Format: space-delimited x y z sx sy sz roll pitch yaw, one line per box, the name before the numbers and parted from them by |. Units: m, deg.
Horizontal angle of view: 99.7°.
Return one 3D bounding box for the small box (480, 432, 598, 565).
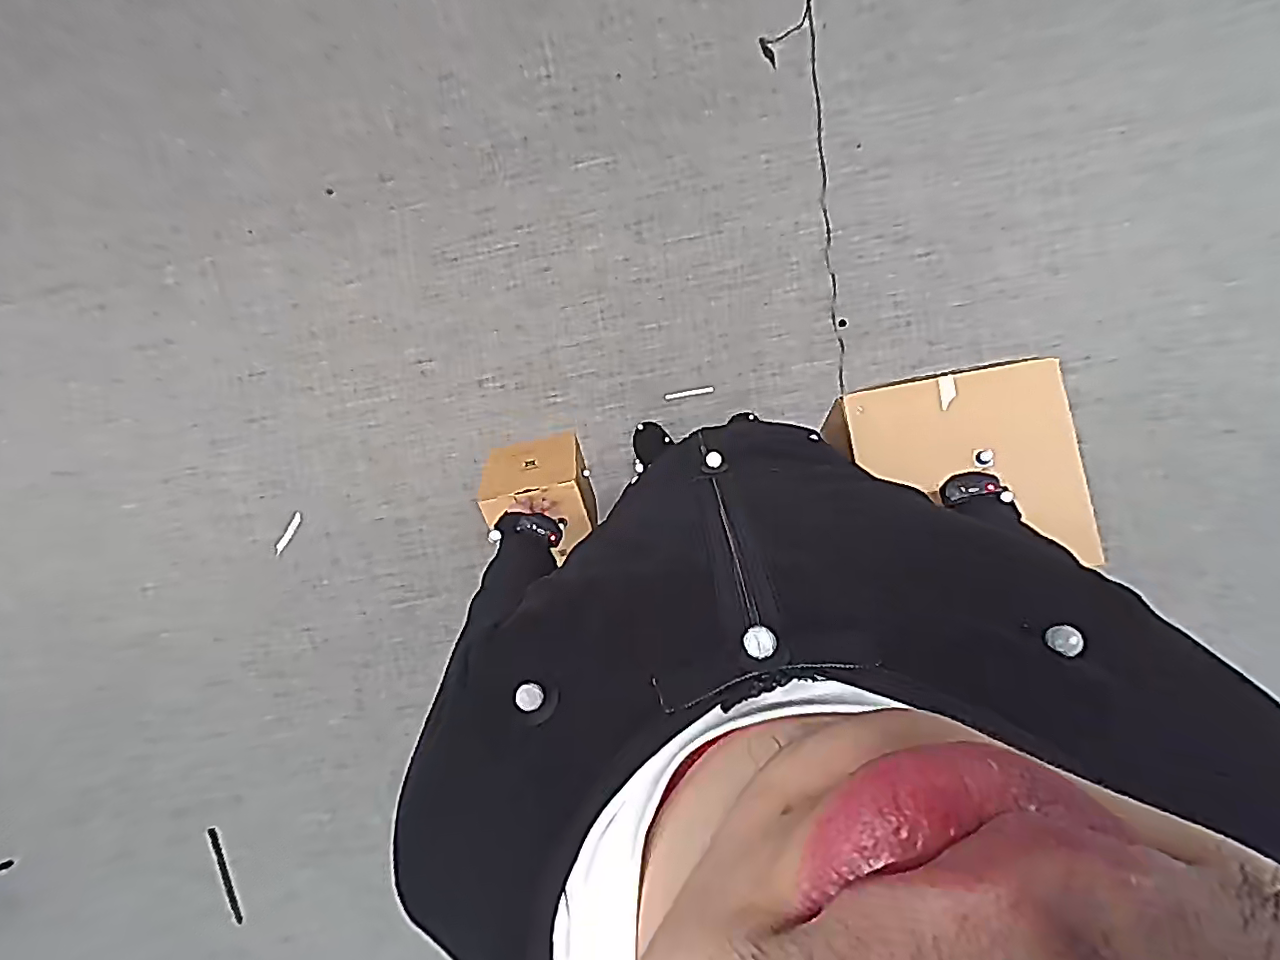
small box | -0.177 0.039 0.998 0.168 0.179 0.176 -13 123 1
